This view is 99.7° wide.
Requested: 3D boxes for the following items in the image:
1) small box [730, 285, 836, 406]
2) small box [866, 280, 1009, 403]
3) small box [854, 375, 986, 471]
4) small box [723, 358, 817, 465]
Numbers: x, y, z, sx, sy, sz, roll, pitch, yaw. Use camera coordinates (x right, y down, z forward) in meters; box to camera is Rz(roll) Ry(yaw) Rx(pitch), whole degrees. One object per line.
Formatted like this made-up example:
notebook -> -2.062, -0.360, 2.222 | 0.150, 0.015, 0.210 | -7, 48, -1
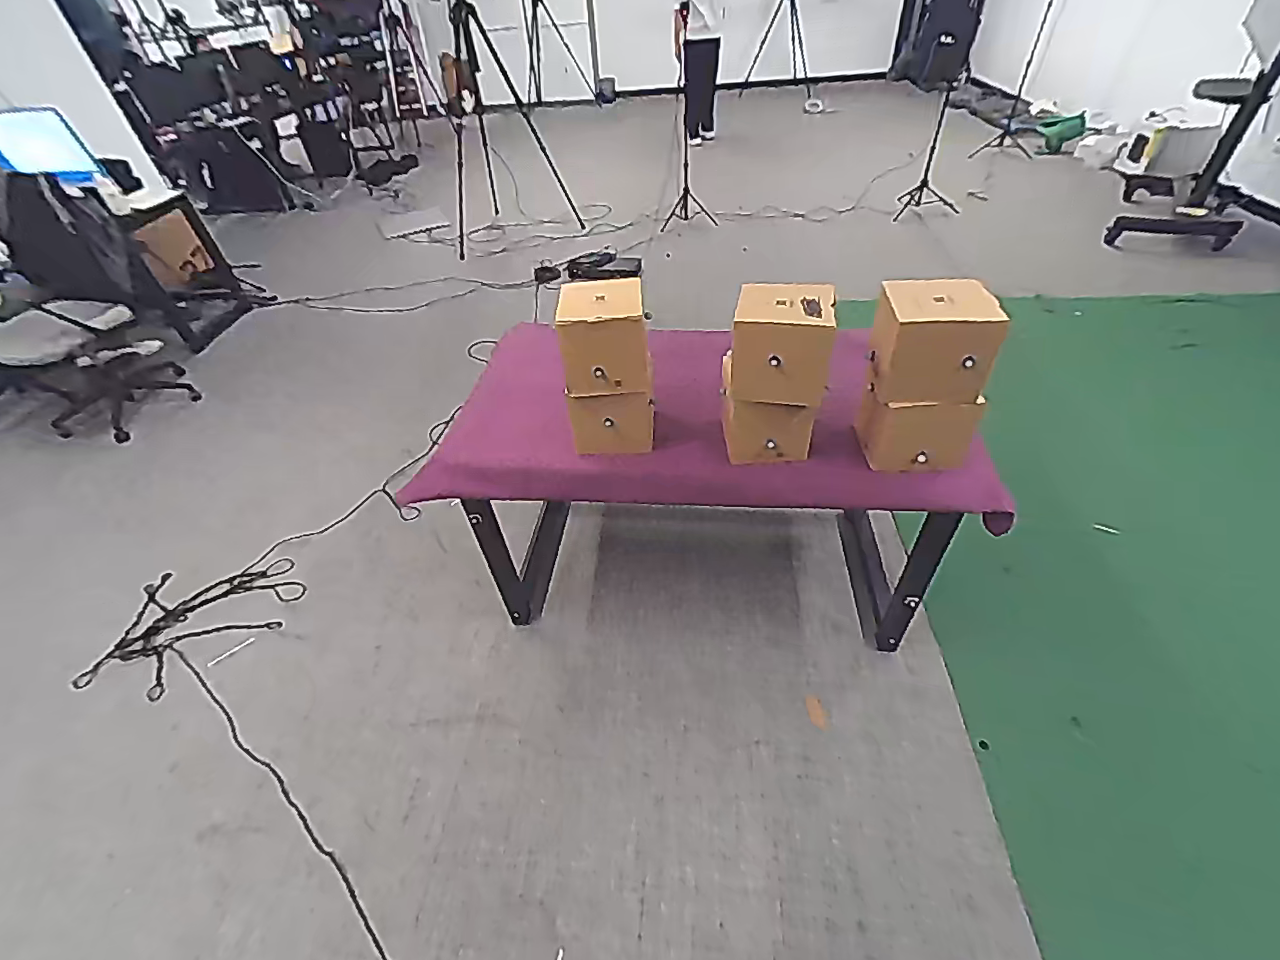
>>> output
small box -> 0.272, -0.257, 1.038 | 0.179, 0.176, 0.168 | 6, 44, 14
small box -> 0.539, -0.256, 1.008 | 0.179, 0.176, 0.168 | 2, 44, 10
small box -> 0.563, -0.132, 1.113 | 0.179, 0.176, 0.168 | -2, 43, 5
small box -> 0.271, -0.153, 1.168 | 0.168, 0.176, 0.179 | -4, 42, 3
